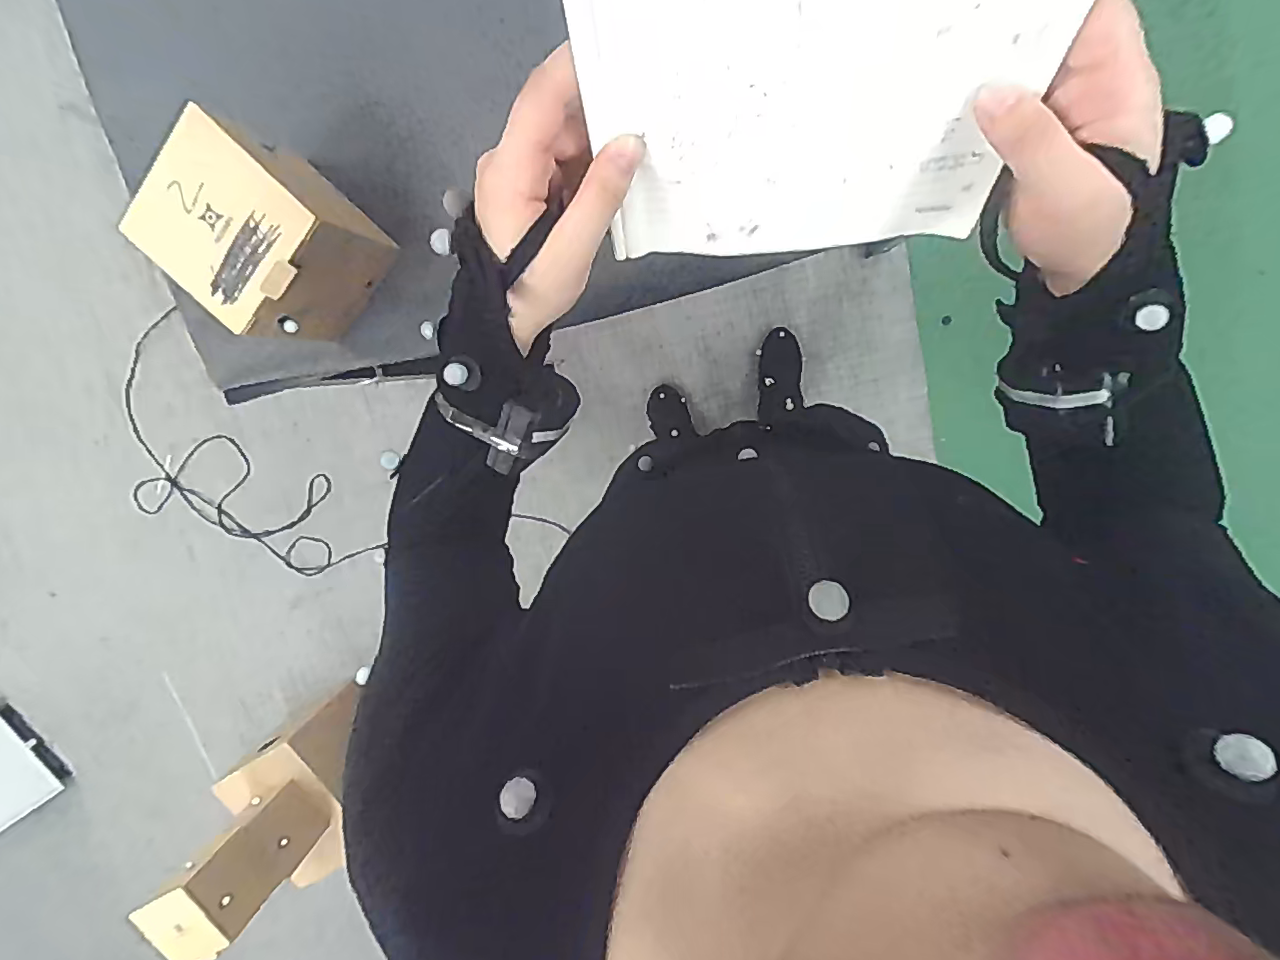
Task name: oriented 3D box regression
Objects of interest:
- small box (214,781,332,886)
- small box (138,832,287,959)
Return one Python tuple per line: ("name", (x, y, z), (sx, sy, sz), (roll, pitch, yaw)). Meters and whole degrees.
("small box", (-0.962, 0.943, 1.421), (0.168, 0.176, 0.179), (-32, 97, 11))
("small box", (-0.984, 0.965, 1.261), (0.168, 0.176, 0.179), (-31, 98, 10))
